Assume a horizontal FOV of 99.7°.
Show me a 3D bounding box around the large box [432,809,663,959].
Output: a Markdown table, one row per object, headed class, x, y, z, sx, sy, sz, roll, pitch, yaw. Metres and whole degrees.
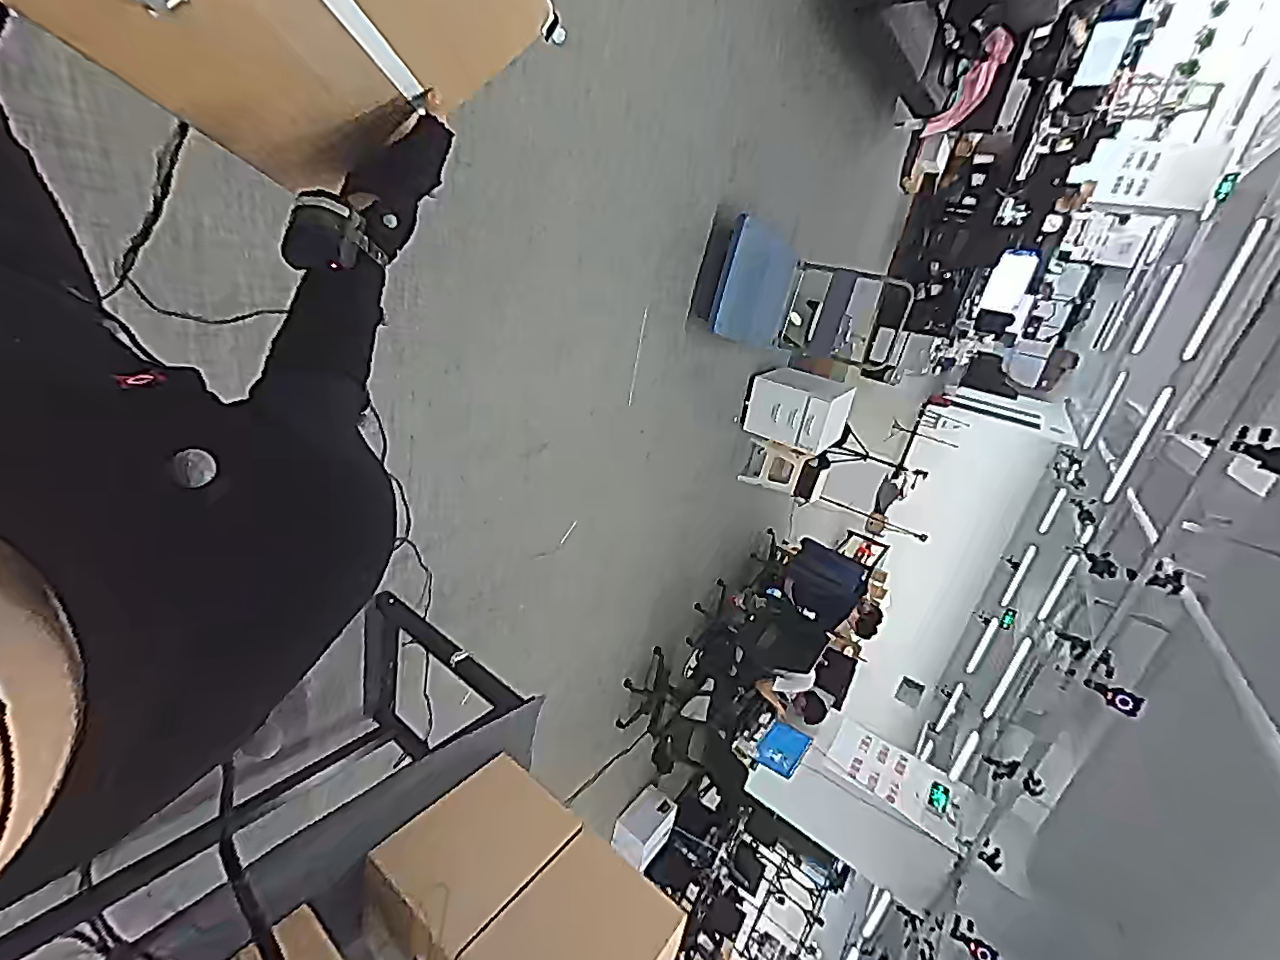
| class | x | y | z | sx | sy | sz | roll | pitch | yaw |
| --- | --- | --- | --- | --- | --- | --- | --- | --- | --- |
| large box | -0.211 | 1.067 | 1.219 | 0.408 | 0.320 | 0.320 | -16 | 125 | -53 |
